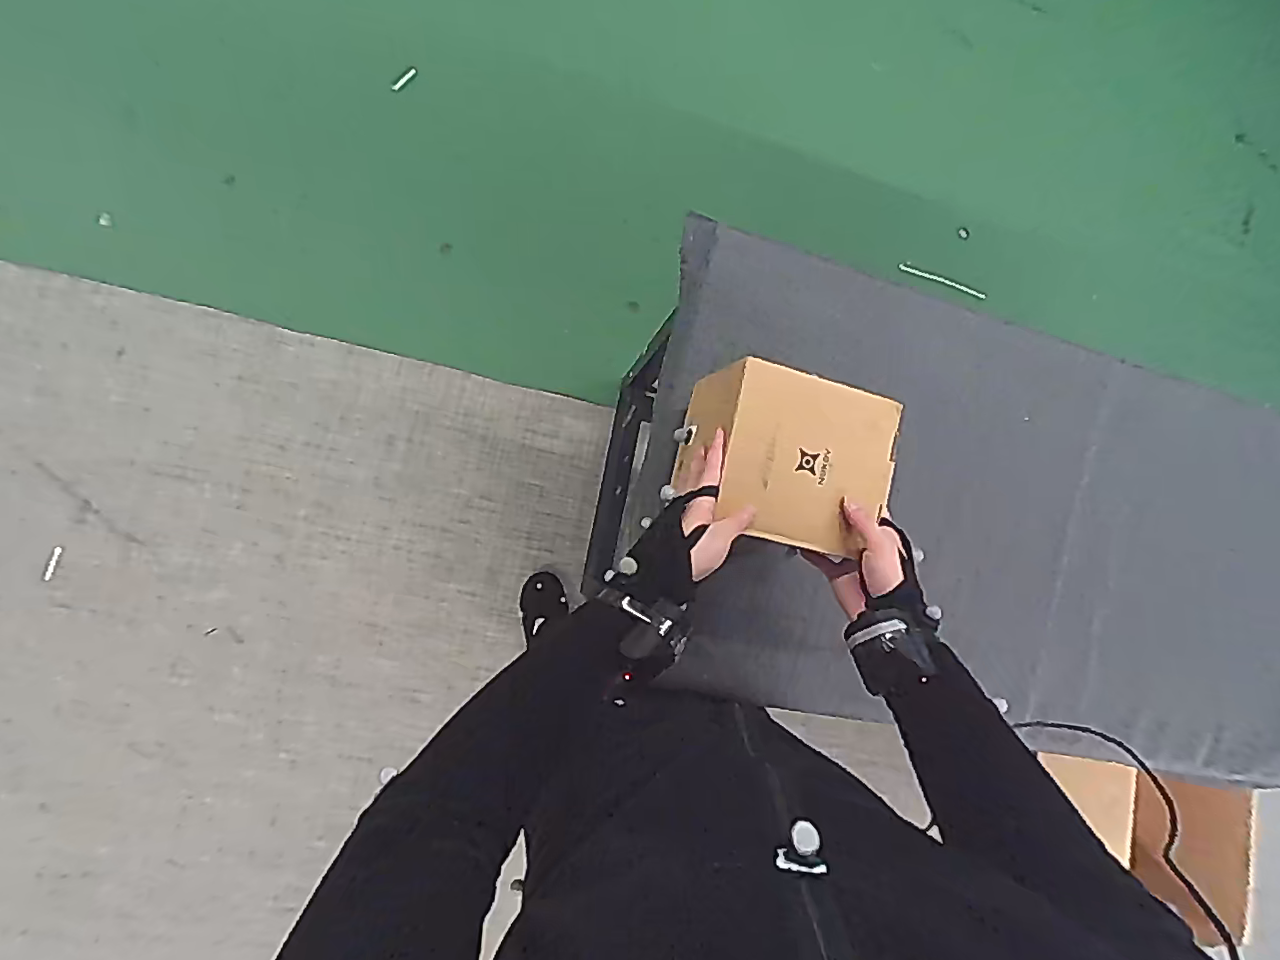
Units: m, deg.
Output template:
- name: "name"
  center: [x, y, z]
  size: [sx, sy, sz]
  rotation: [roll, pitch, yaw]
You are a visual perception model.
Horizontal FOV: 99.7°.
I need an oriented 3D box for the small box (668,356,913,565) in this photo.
- name: "small box"
  center: [0.148, -0.018, 0.581]
  size: [0.179, 0.176, 0.168]
  rotation: [13, 88, -12]
